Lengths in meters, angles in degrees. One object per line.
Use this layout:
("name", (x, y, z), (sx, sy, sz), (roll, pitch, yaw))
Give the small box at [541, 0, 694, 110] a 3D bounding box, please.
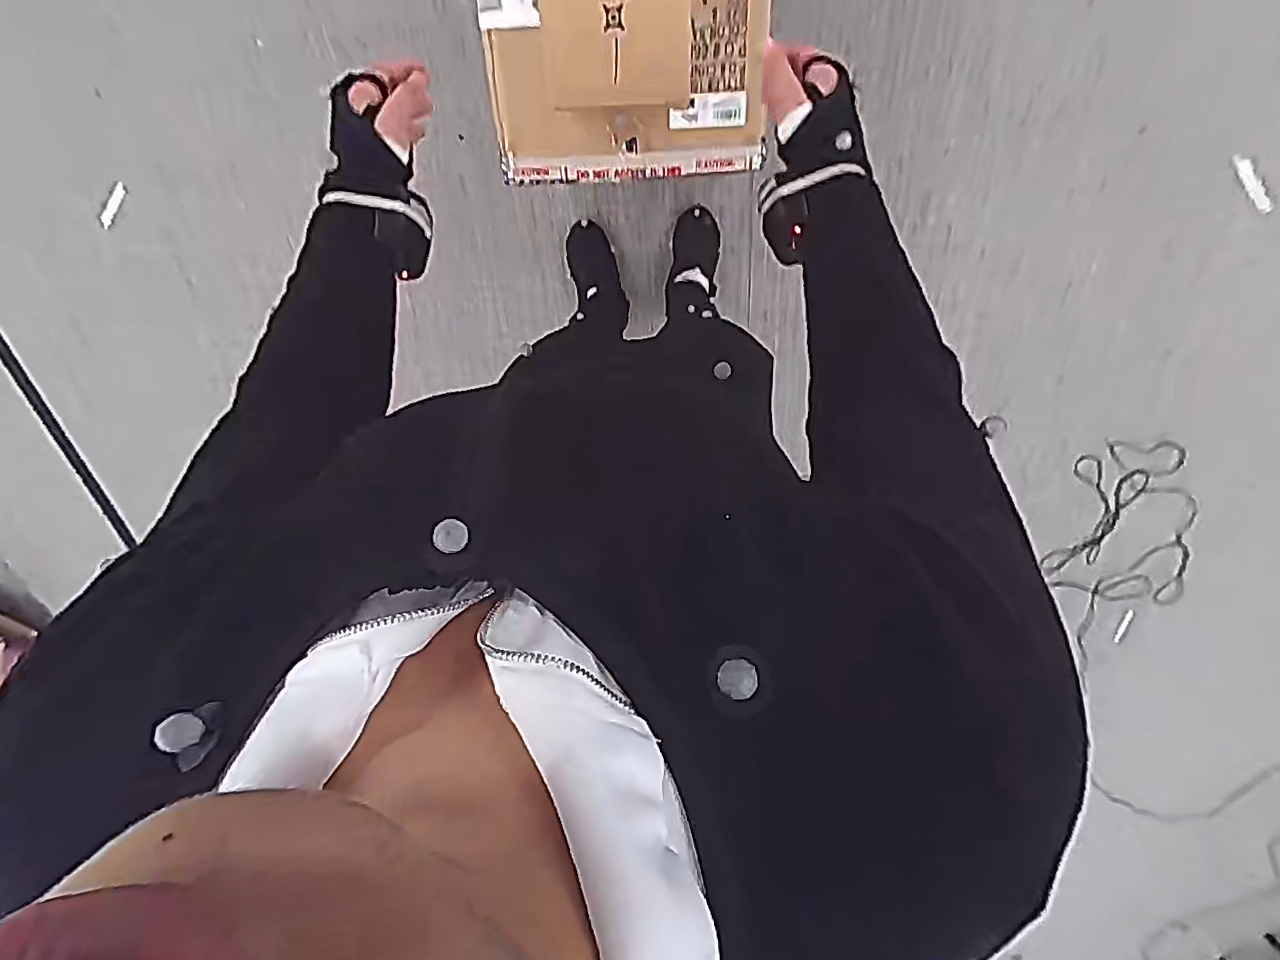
("small box", (-0.022, -0.552, 0.644), (0.168, 0.176, 0.179), (0, 124, 3))
